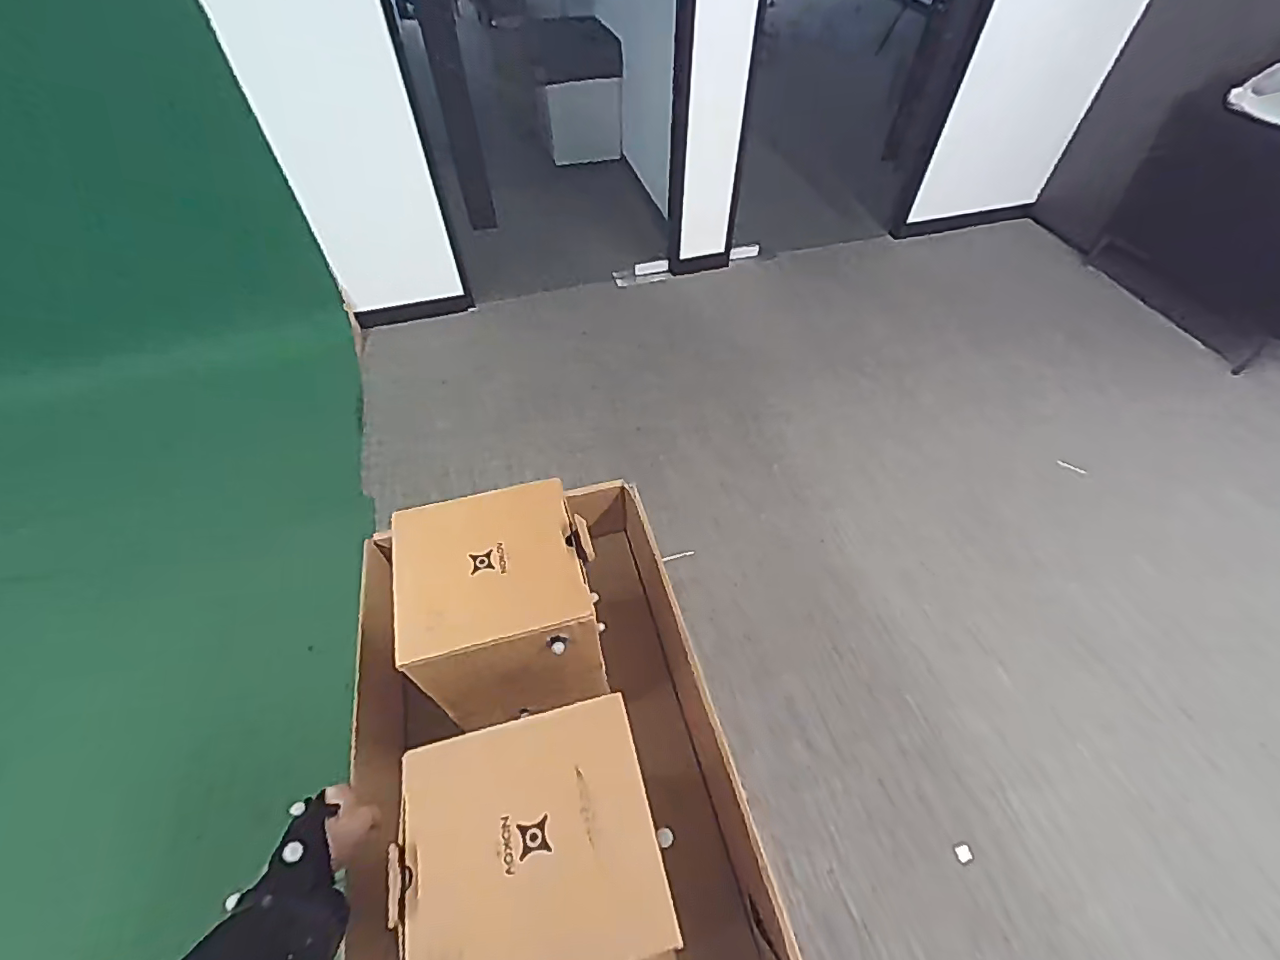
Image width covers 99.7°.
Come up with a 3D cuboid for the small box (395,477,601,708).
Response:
[{"bbox_3d":[-0.146,0.126,0.585,0.179,0.176,0.168,-12,54,-11],"label":"small box"}]

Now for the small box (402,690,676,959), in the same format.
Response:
[{"bbox_3d":[-0.078,0.301,0.445,0.179,0.176,0.168,-12,53,-10],"label":"small box"}]
